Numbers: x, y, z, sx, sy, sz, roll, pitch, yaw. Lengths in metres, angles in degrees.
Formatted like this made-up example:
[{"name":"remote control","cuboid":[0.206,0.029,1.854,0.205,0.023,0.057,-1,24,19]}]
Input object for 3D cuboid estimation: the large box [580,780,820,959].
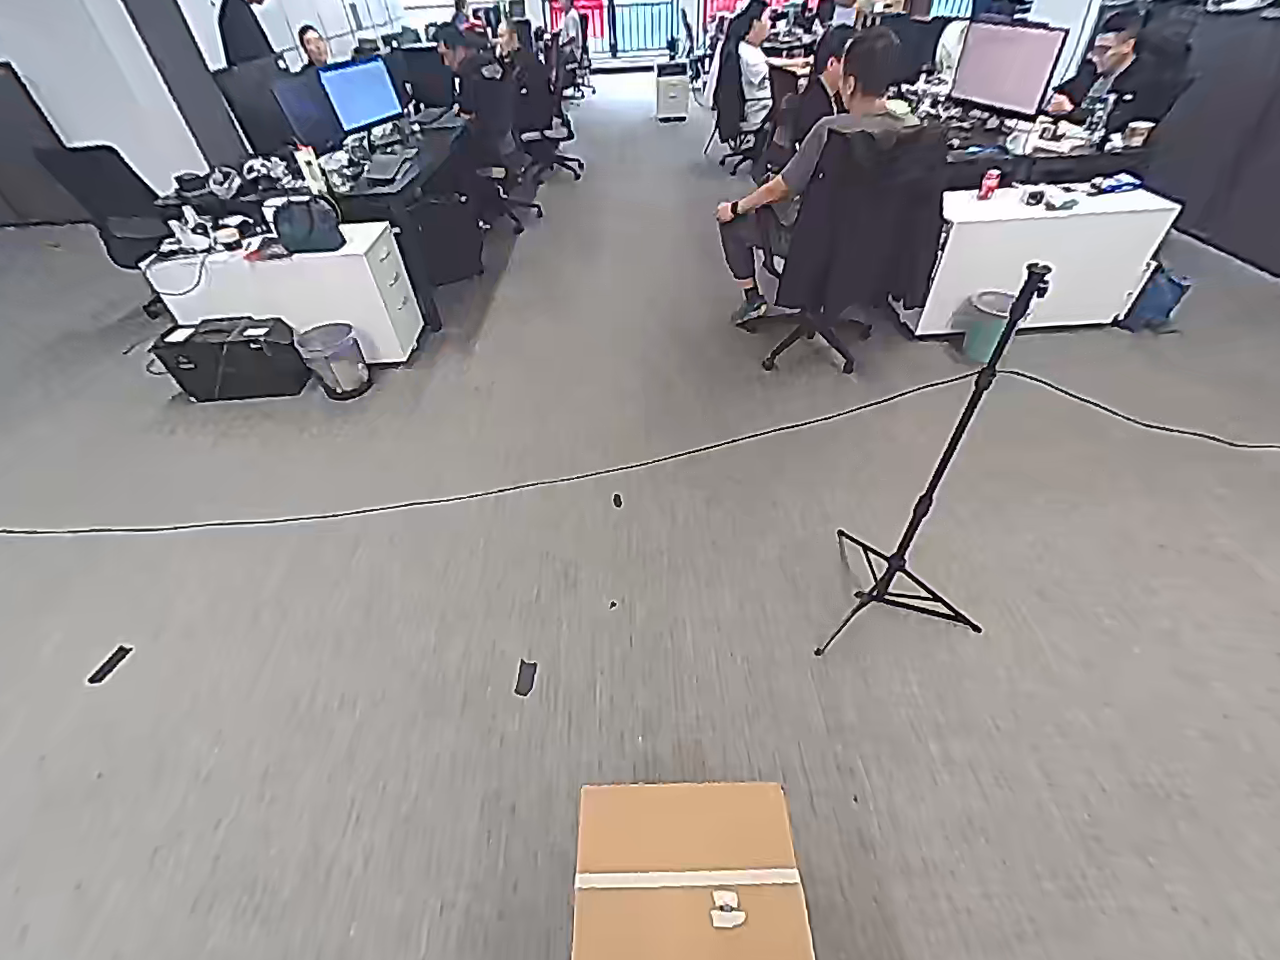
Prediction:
[{"name":"large box","cuboid":[0.100,0.824,1.081,0.408,0.320,0.320,-1,44,1]}]
